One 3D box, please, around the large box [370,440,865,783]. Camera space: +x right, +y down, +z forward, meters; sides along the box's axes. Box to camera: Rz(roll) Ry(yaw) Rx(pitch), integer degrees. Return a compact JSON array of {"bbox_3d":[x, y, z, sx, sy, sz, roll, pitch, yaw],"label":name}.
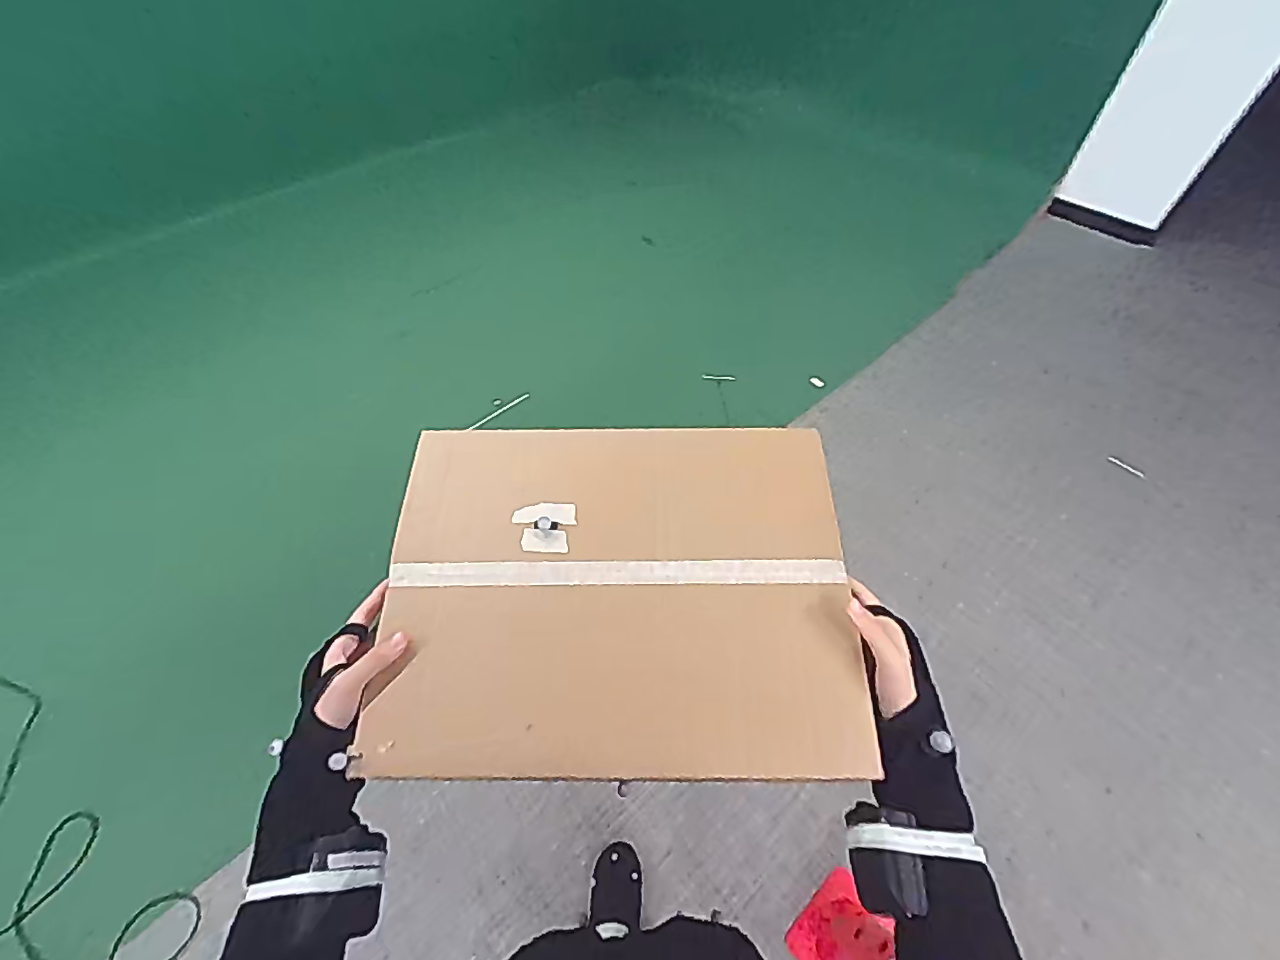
[{"bbox_3d":[-0.012,0.163,0.627,0.408,0.320,0.320,0,62,3],"label":"large box"}]
